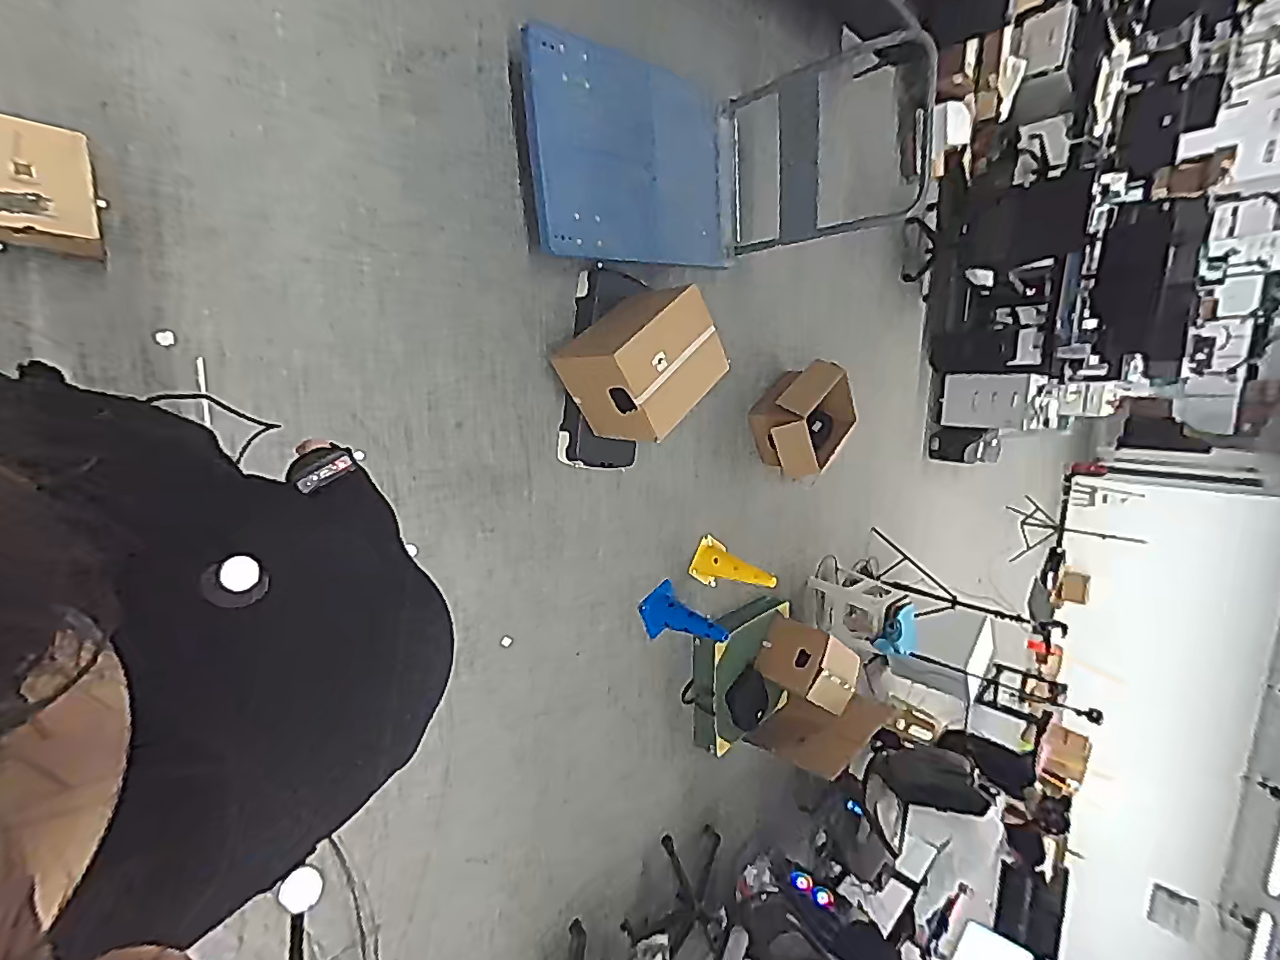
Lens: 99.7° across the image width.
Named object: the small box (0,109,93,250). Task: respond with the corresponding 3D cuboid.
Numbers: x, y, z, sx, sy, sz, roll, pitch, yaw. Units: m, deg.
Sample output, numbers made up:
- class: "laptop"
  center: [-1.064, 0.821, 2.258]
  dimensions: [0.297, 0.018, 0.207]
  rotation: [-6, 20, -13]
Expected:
- class: "small box"
  center: [-1.059, -0.508, 0.922]
  dimensions: [0.168, 0.176, 0.179]
  rotation: [-7, 102, -44]
